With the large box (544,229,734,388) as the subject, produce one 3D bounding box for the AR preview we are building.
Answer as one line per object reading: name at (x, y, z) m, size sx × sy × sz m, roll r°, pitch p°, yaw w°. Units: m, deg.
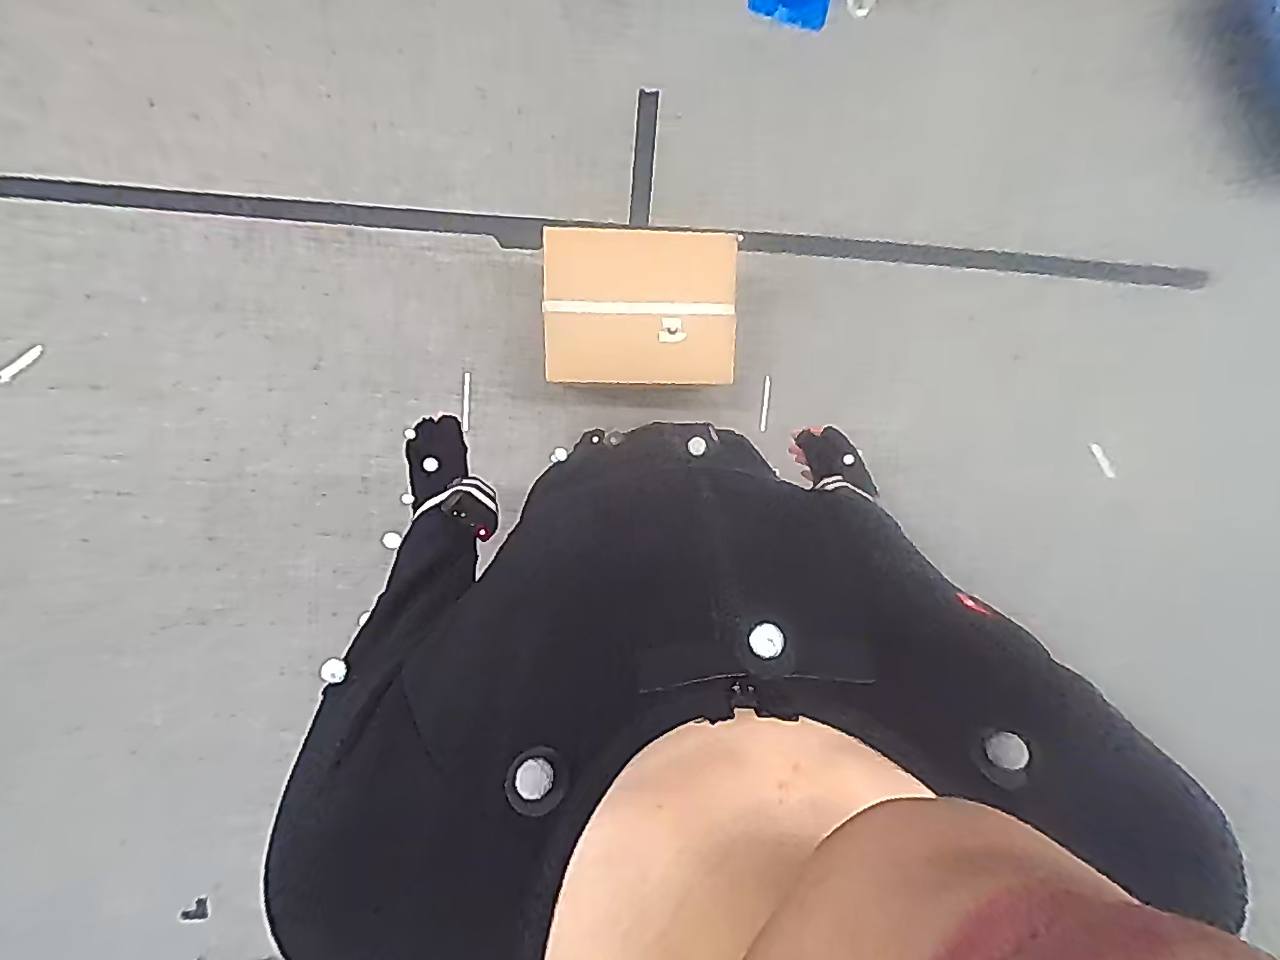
large box at (-0.013, -0.382, 1.284) m, size 0.408 × 0.320 × 0.320 m, roll 0°, pitch 98°, yaw -5°
